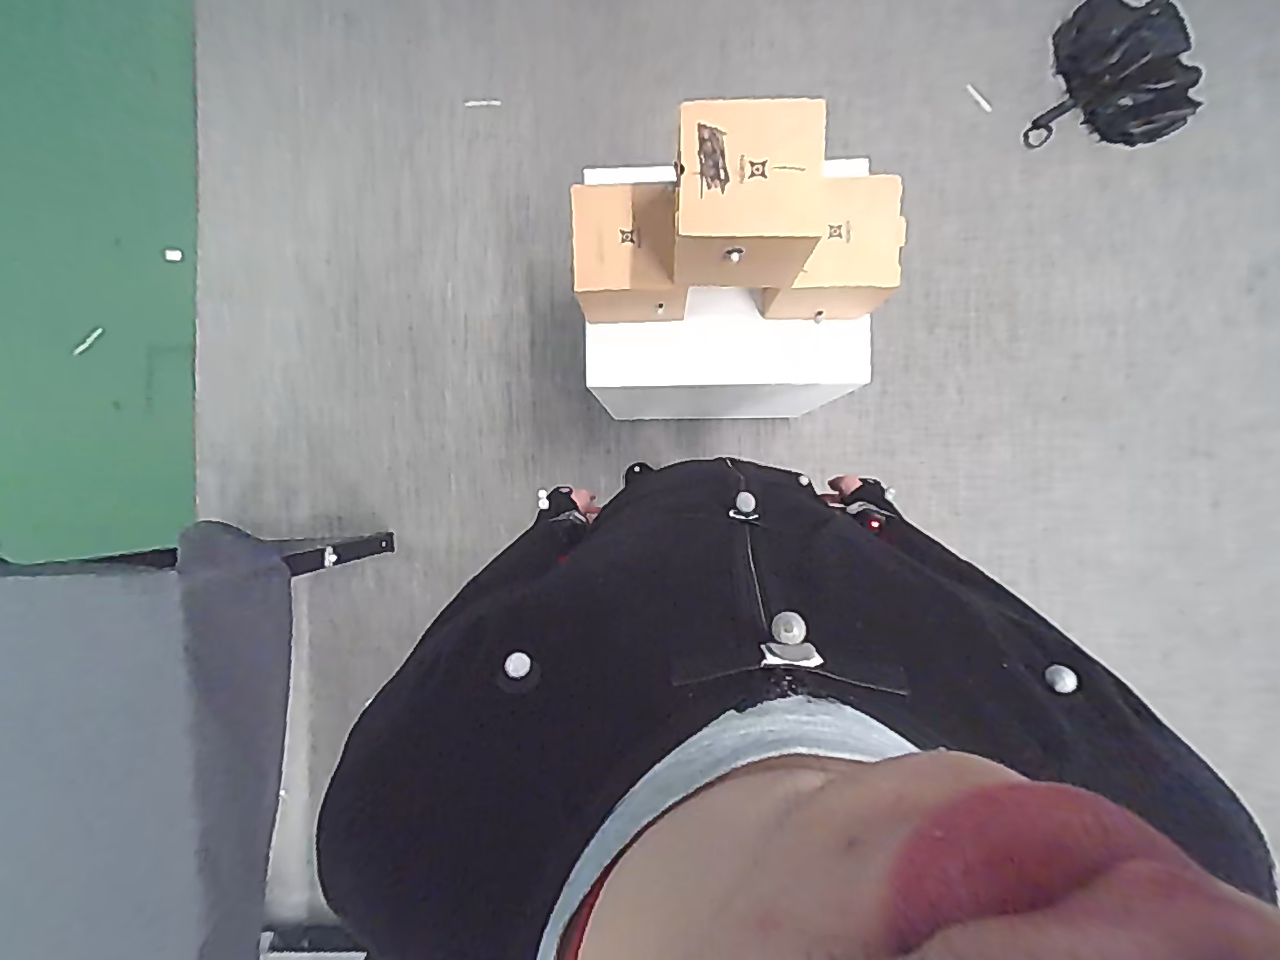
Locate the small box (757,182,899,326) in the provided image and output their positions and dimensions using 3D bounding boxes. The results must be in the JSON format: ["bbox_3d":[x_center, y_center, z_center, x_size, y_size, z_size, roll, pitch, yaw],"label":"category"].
[{"bbox_3d":[0.293,-0.354,0.873,0.179,0.176,0.168,-1,89,2],"label":"small box"}]

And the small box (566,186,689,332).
[{"bbox_3d":[-0.020,-0.346,0.874,0.179,0.176,0.168,-3,88,0],"label":"small box"}]

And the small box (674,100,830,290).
[{"bbox_3d":[0.135,-0.359,0.709,0.179,0.176,0.168,0,89,0],"label":"small box"}]
